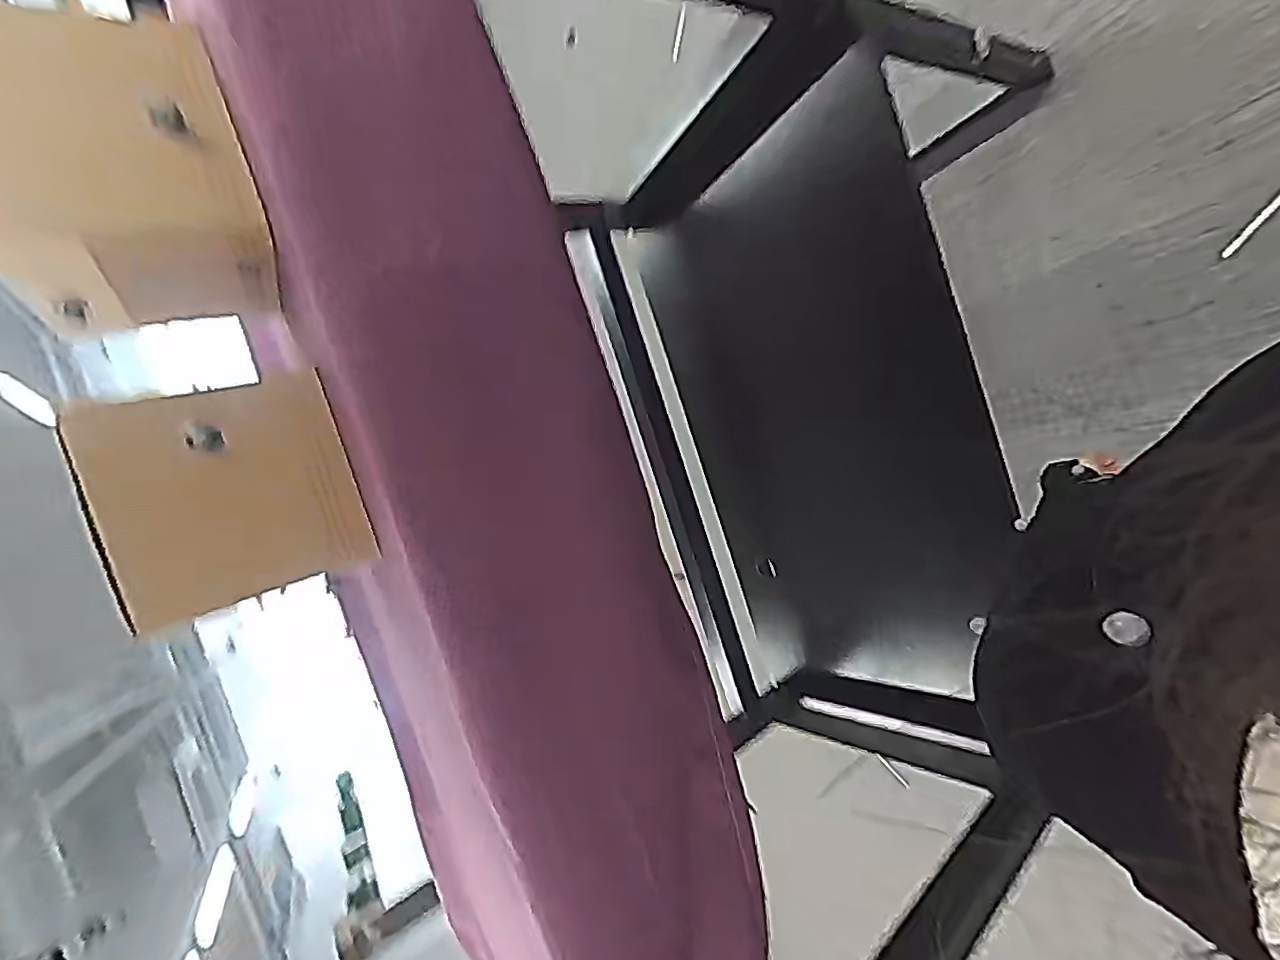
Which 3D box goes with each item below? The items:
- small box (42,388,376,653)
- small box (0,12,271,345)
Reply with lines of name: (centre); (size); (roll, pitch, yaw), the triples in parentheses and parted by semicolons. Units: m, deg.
small box: (-0.356, 0.026, 0.479); (0.168, 0.176, 0.179); (-16, 93, 58)
small box: (-0.425, -0.231, 0.443); (0.168, 0.176, 0.179); (-20, 89, 58)
